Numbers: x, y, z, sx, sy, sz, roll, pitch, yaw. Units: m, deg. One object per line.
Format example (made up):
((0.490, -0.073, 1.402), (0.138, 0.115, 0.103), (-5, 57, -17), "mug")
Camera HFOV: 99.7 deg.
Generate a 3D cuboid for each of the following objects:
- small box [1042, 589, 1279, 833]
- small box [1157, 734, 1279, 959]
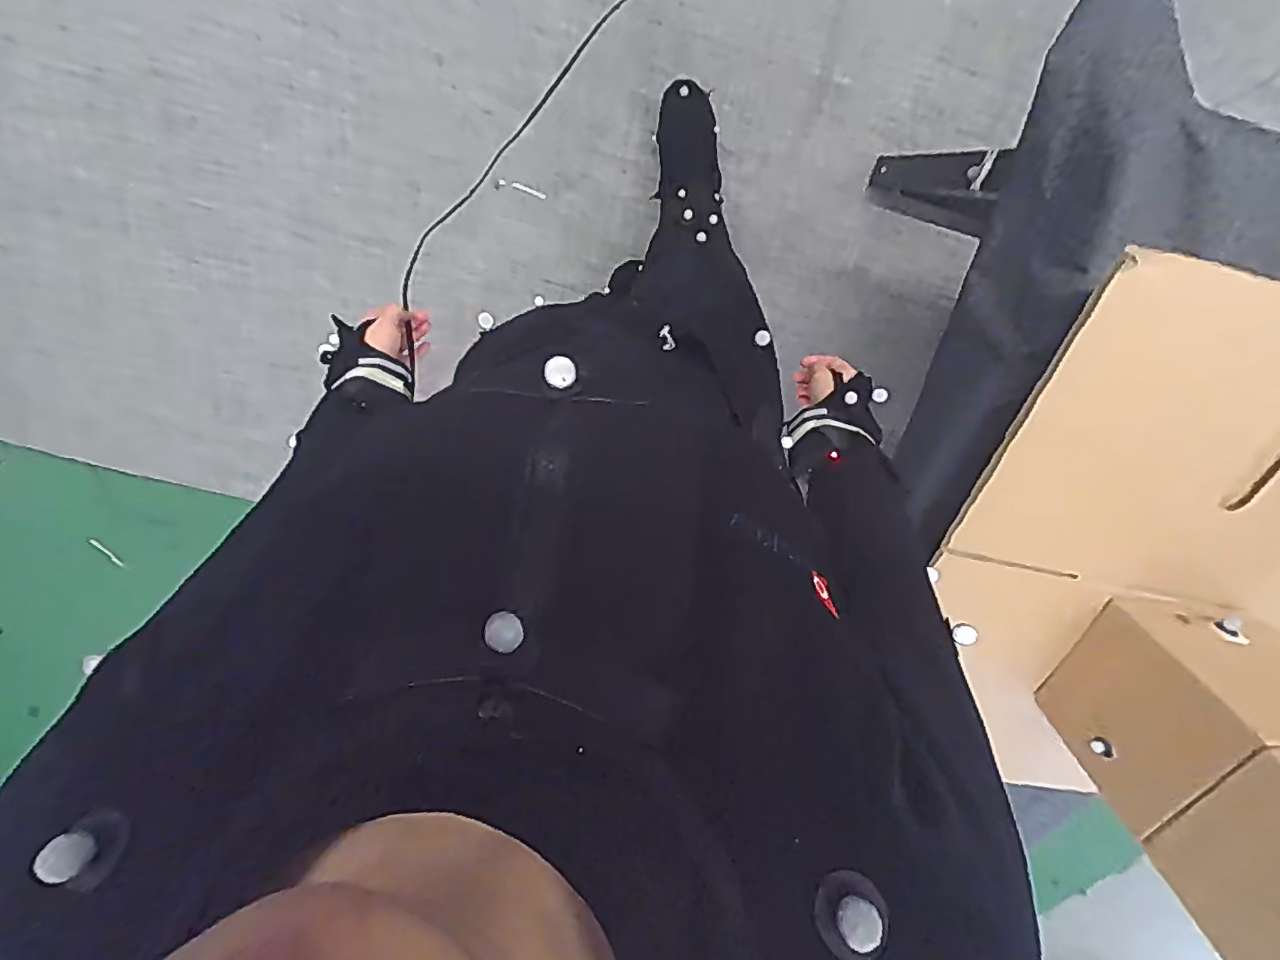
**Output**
((0.576, 0.240, 0.565), (0.168, 0.176, 0.179), (4, 122, -5), "small box")
((0.582, 0.330, 0.428), (0.168, 0.176, 0.179), (3, 122, -5), "small box")
